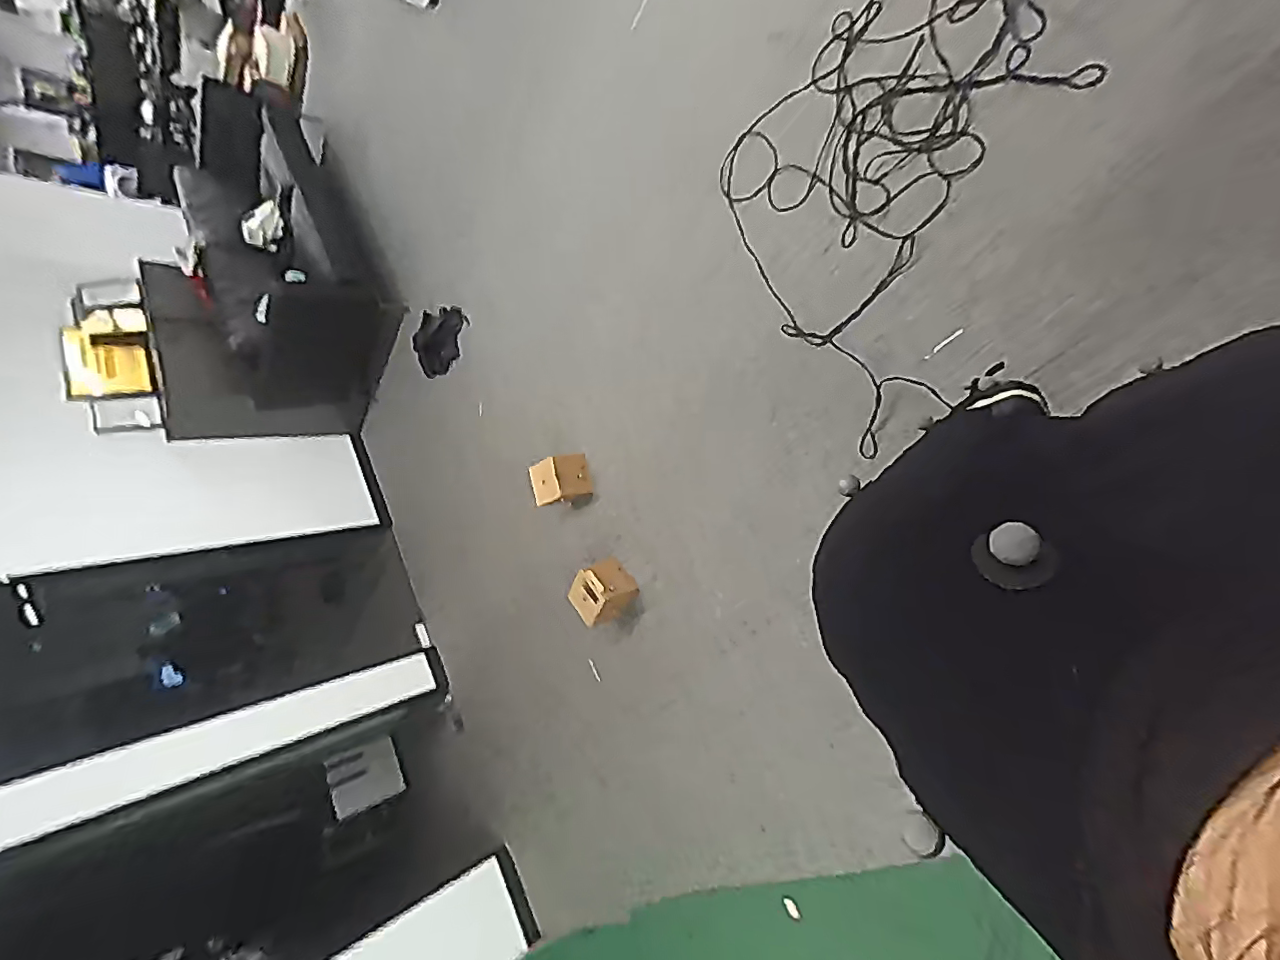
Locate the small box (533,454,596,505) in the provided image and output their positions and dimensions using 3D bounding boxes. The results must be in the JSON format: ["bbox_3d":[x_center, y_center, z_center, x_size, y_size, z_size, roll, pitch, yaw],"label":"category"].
[{"bbox_3d":[-0.307,-0.002,2.196,0.179,0.176,0.168,-24,78,44],"label":"small box"}]
